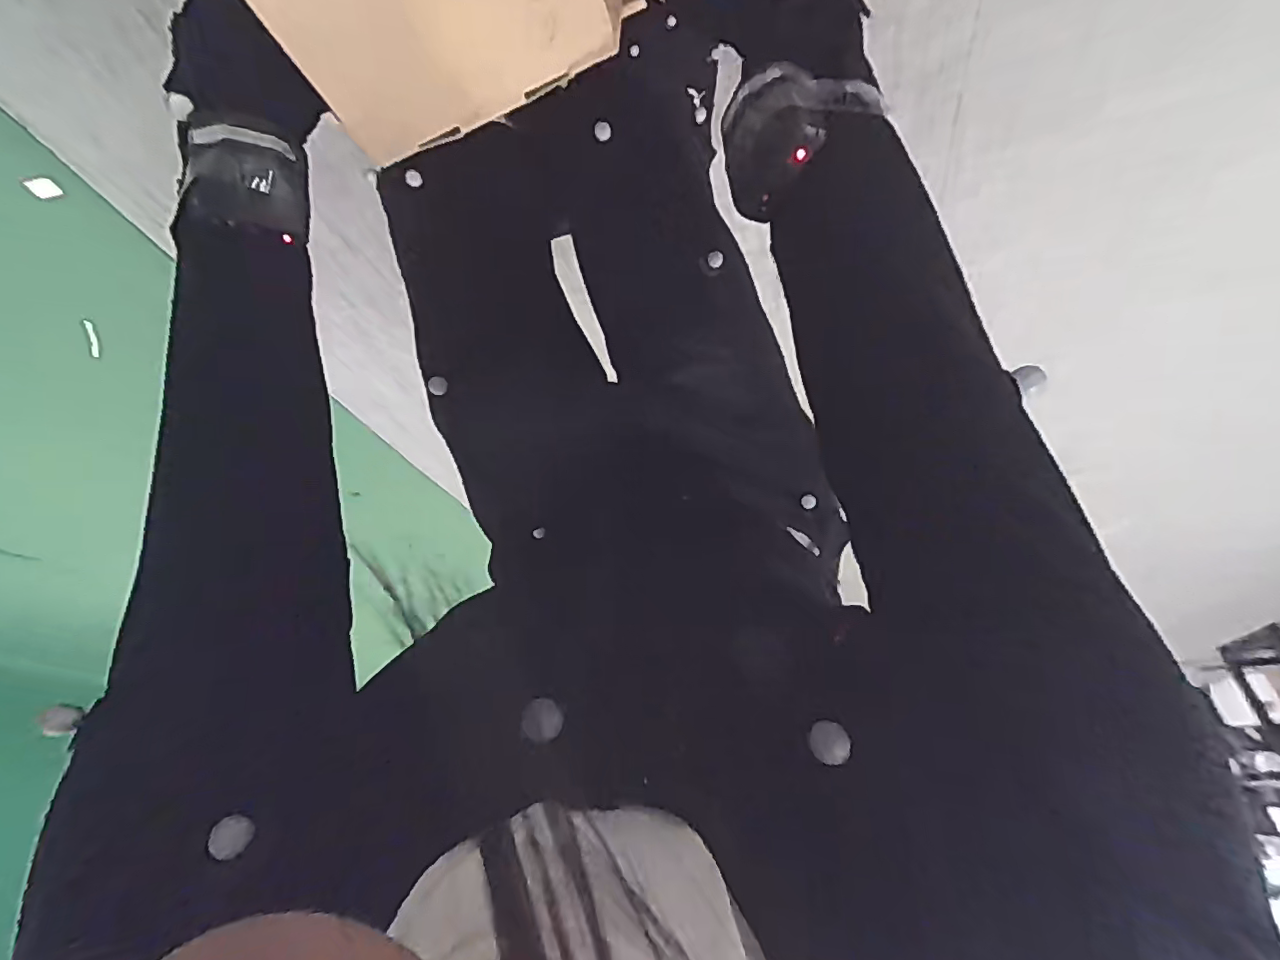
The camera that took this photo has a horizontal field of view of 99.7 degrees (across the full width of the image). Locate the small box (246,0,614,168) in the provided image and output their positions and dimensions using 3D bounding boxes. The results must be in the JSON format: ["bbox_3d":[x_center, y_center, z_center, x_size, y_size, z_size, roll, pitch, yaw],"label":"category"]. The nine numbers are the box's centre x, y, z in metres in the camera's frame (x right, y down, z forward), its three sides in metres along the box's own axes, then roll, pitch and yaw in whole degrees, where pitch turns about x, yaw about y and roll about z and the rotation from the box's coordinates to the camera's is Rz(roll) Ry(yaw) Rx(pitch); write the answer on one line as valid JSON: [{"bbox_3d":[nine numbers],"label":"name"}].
[{"bbox_3d":[-0.120,-0.322,0.292,0.168,0.176,0.179,-15,144,17],"label":"small box"}]
